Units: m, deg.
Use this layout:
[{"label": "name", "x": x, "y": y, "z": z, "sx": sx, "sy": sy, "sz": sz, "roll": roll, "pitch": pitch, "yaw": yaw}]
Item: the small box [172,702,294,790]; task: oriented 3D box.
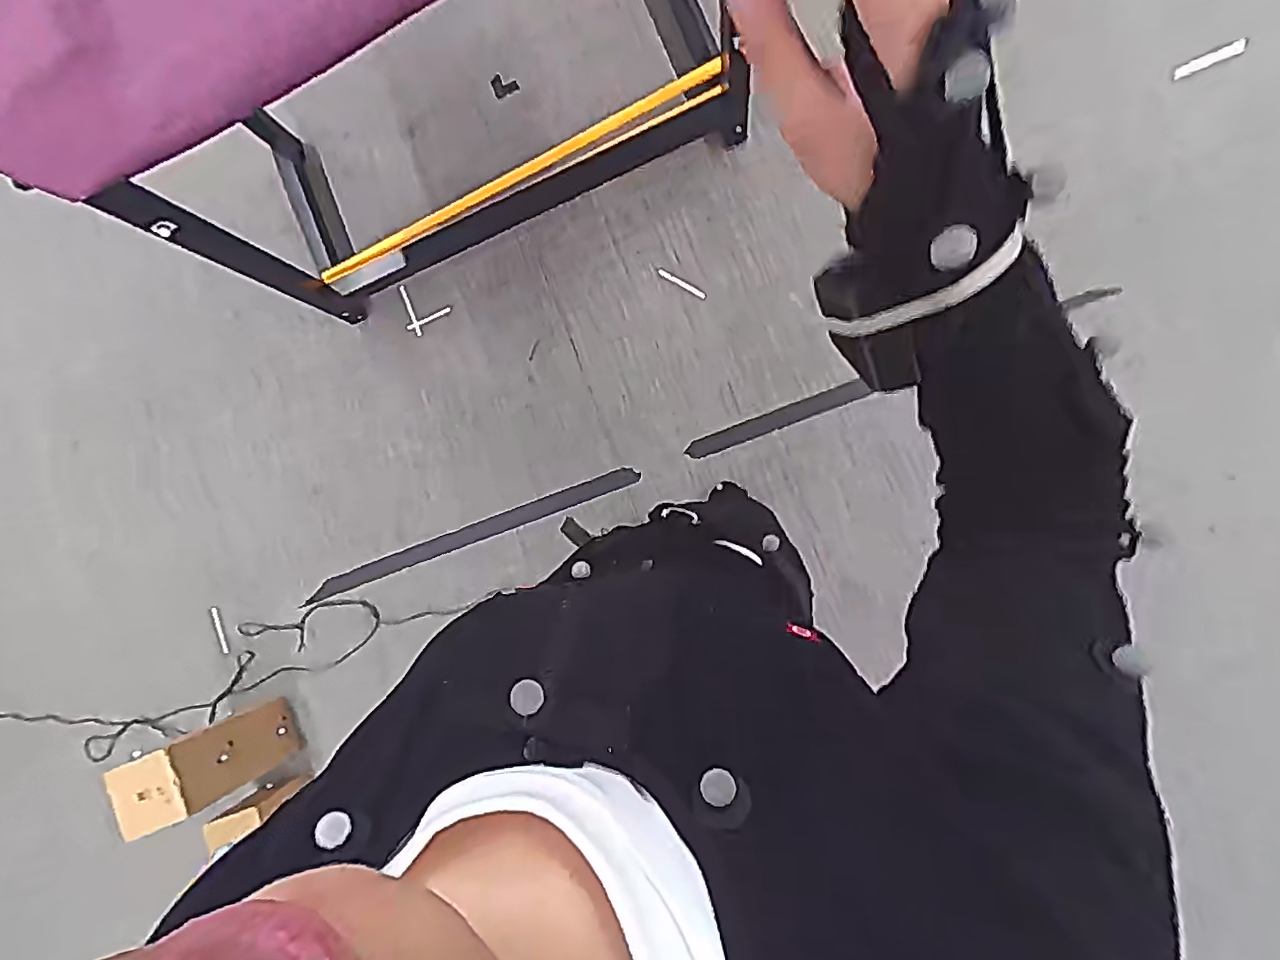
[{"label": "small box", "x": -1.067, "y": 0.715, "z": 1.427, "sx": 0.179, "sy": 0.176, "sz": 0.168, "roll": -22, "pitch": 85, "yaw": 6}]

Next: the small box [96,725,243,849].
[{"label": "small box", "x": -1.090, "y": 0.708, "z": 1.263, "sx": 0.179, "sy": 0.176, "sz": 0.168, "roll": -23, "pitch": 86, "yaw": 6}]
